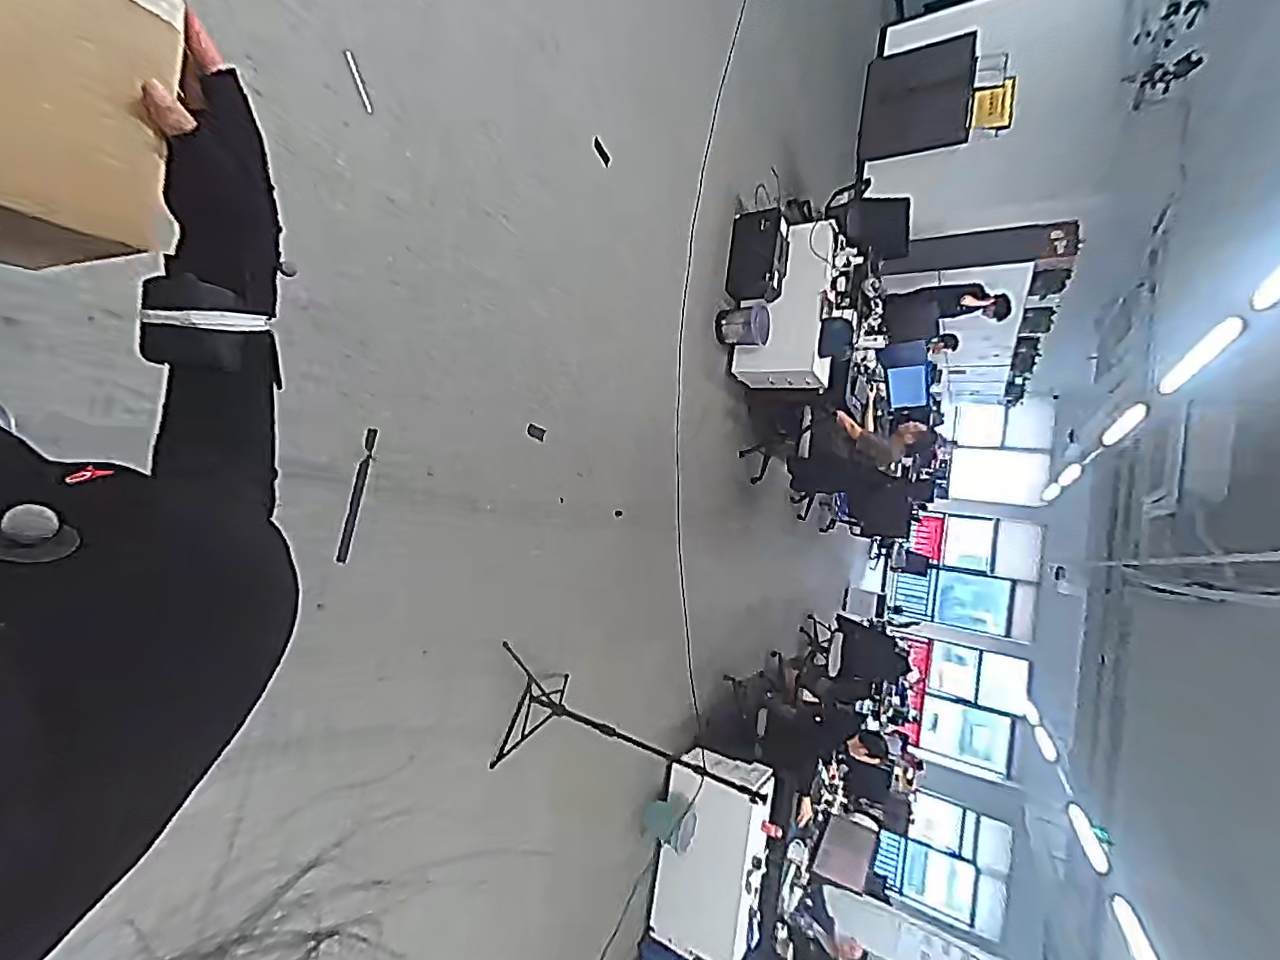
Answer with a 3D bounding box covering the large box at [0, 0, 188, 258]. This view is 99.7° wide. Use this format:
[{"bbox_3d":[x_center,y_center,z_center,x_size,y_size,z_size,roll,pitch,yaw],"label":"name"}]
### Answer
[{"bbox_3d":[-0.540,-0.347,0.278,0.408,0.320,0.320,6,95,-59],"label":"large box"}]
